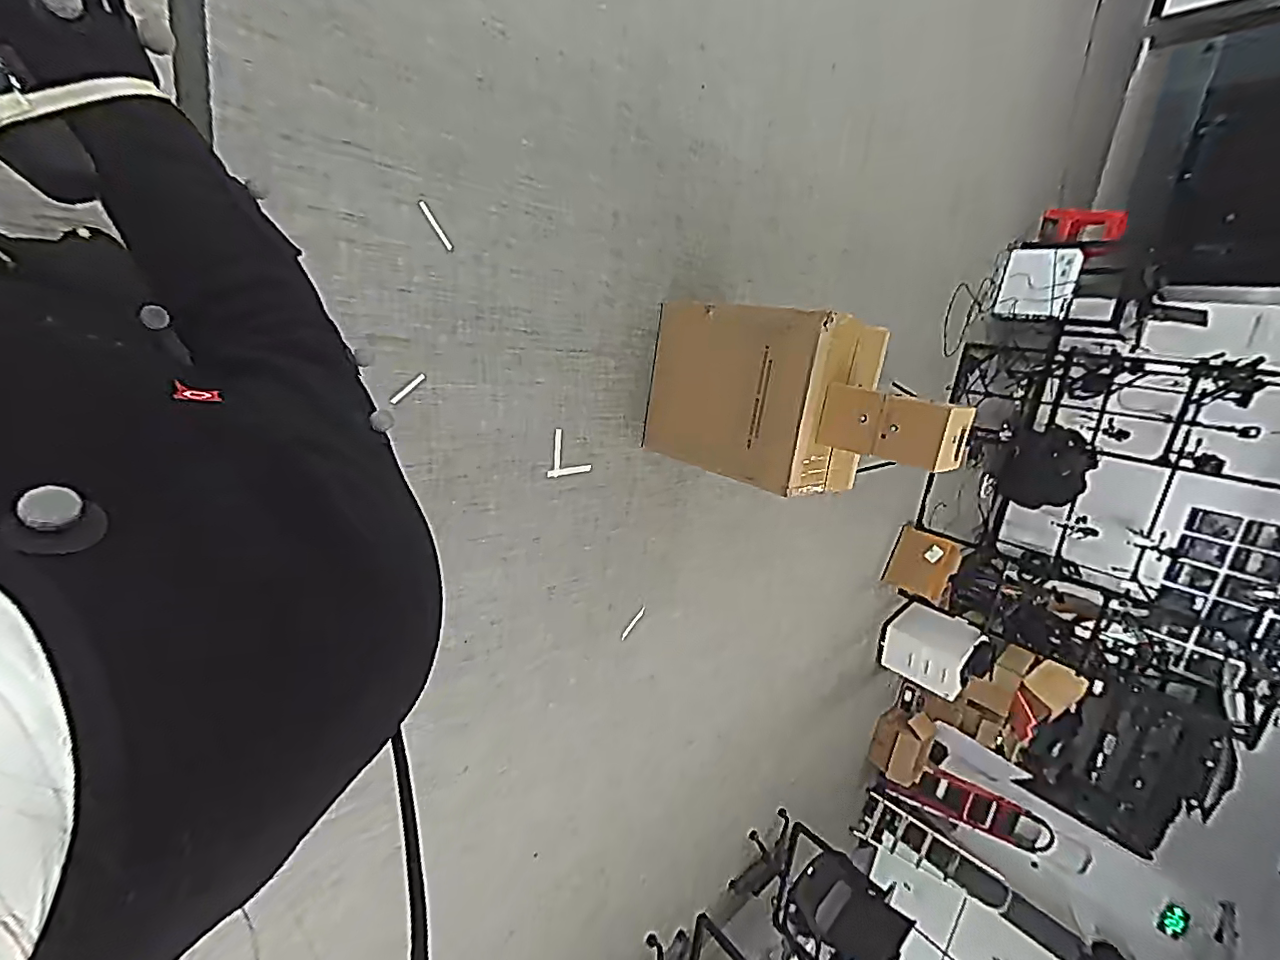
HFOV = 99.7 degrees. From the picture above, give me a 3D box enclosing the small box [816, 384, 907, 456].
[{"bbox_3d":[0.625,-0.174,1.541,0.168,0.176,0.179,-5,111,-42],"label":"small box"}]
